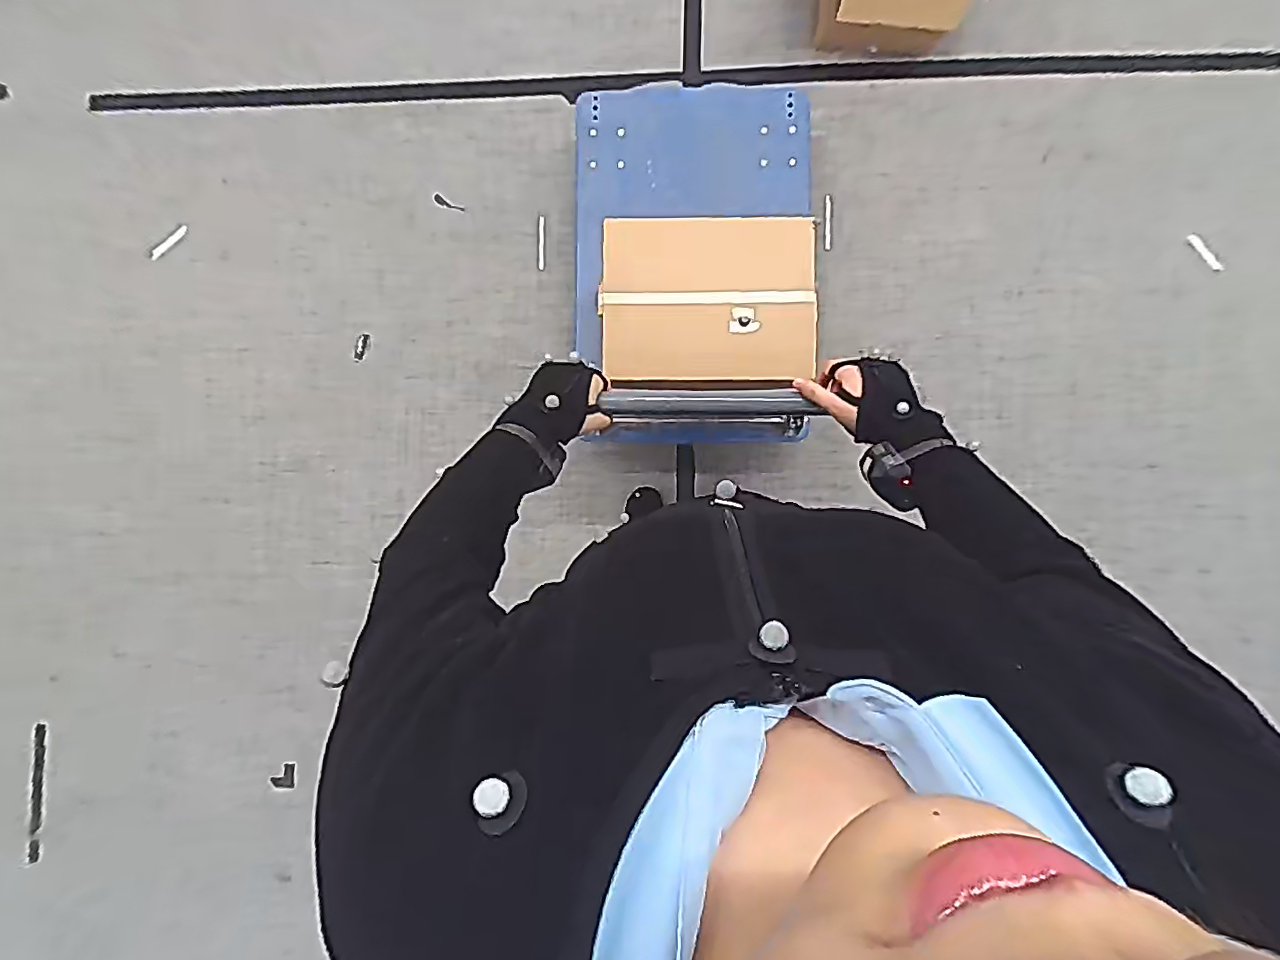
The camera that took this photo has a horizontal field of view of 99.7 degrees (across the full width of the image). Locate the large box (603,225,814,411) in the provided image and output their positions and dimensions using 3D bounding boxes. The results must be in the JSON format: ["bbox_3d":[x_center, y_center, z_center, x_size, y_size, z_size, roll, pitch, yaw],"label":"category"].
[{"bbox_3d":[0.130,-0.328,1.178,0.408,0.320,0.320,0,90,0],"label":"large box"}]
